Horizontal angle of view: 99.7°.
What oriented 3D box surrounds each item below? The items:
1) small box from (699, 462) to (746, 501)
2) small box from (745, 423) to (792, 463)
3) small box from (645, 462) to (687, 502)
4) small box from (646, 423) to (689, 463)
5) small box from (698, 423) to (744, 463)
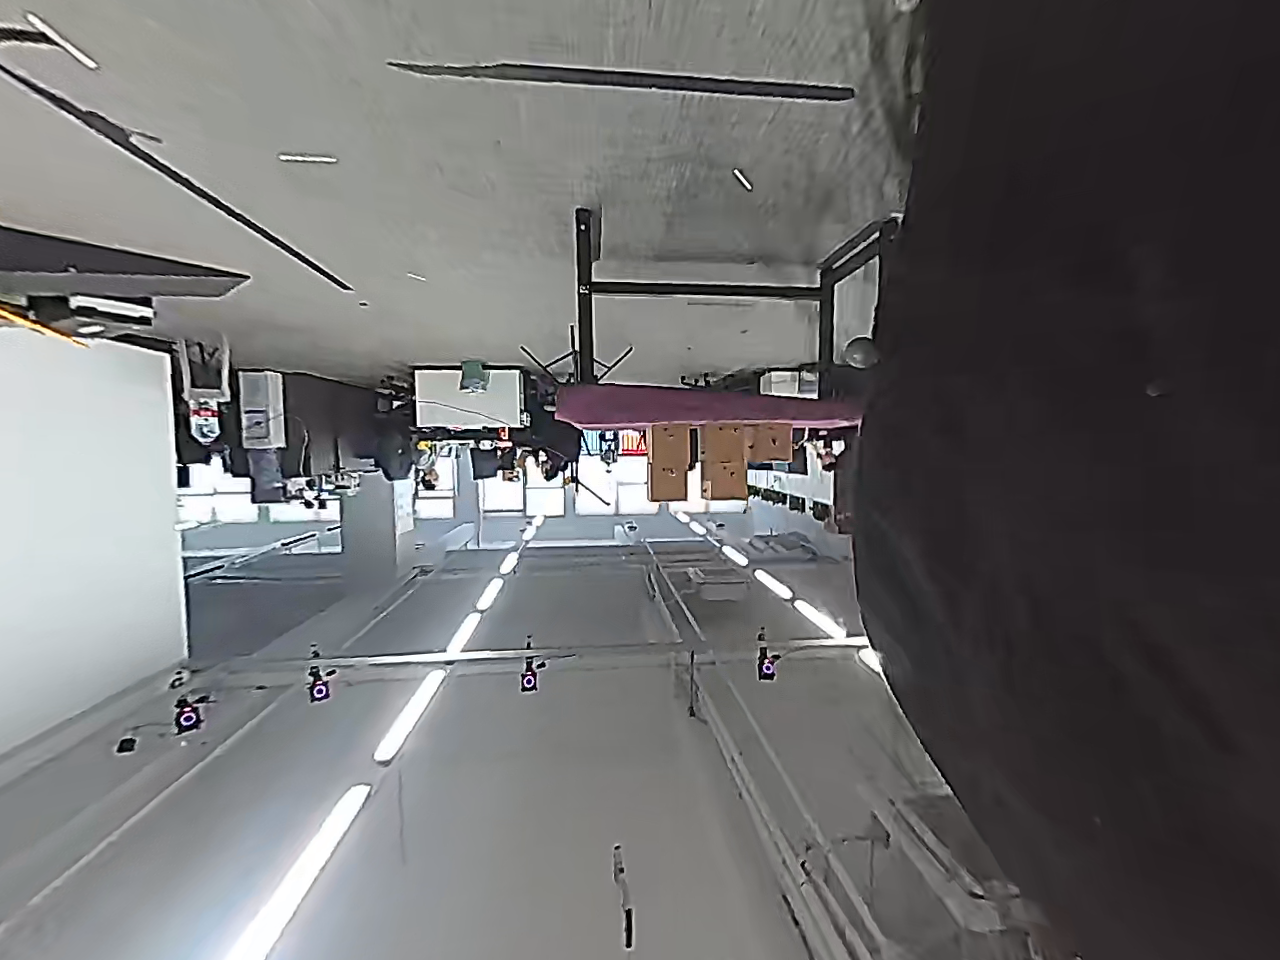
[{"bbox_3d":[0.363,0.000,2.377,0.168,0.176,0.179,-1,-178,-9],"label":"small box"},{"bbox_3d":[0.575,-0.167,2.440,0.168,0.176,0.179,0,-179,-8],"label":"small box"},{"bbox_3d":[0.112,0.003,2.369,0.168,0.176,0.179,-2,-178,-4],"label":"small box"},{"bbox_3d":[0.117,-0.159,2.356,0.168,0.176,0.179,-2,-177,-7],"label":"small box"},{"bbox_3d":[0.348,-0.161,2.361,0.168,0.176,0.179,-1,-177,-6],"label":"small box"}]
